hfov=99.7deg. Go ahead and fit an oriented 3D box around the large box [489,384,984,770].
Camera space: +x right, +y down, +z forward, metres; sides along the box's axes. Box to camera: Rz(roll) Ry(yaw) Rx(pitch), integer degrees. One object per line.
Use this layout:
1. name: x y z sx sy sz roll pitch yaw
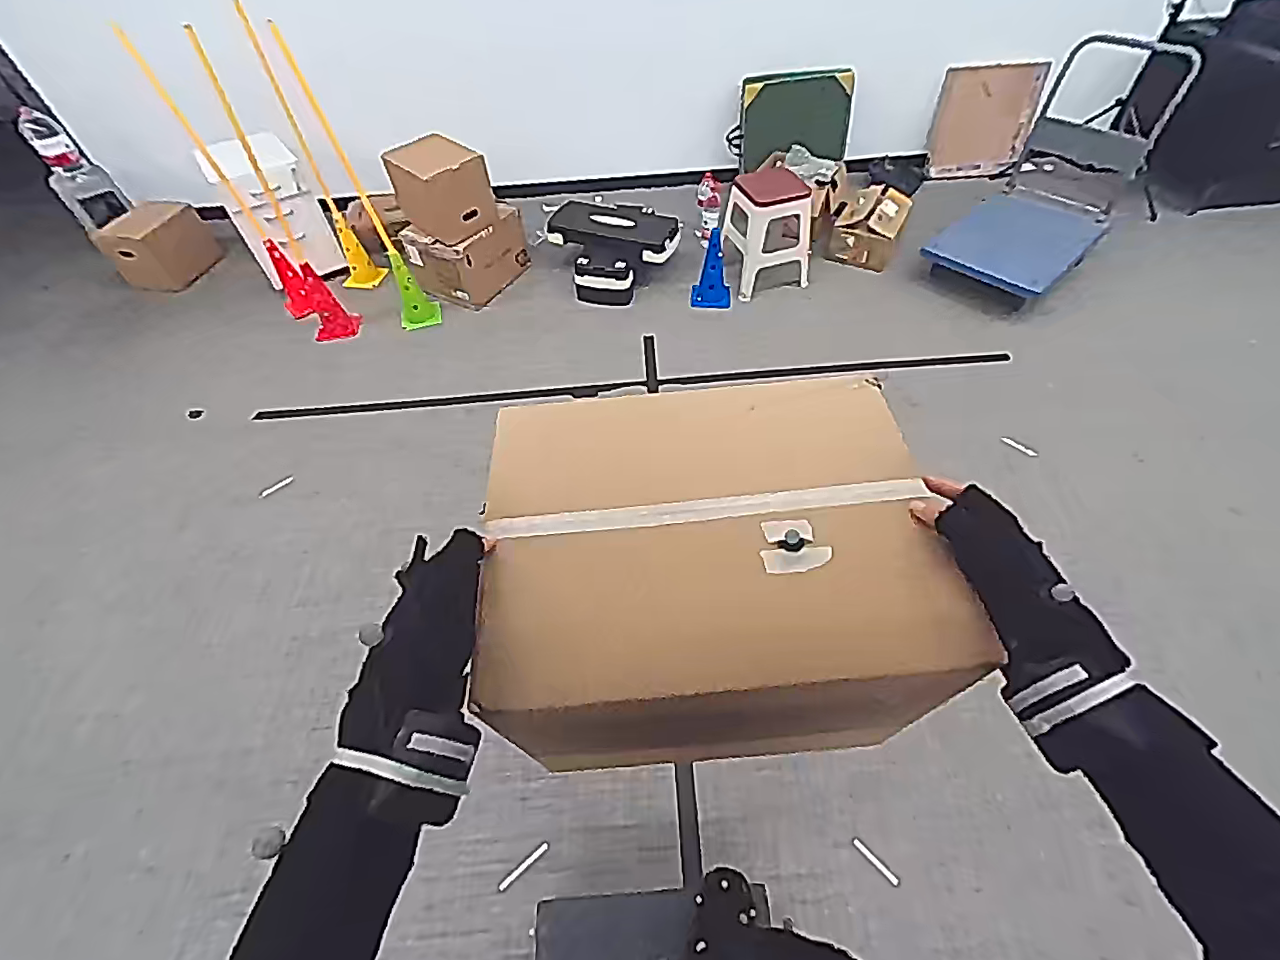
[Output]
1. large box: 0.070 0.123 0.629 0.408 0.320 0.320 -5 54 0
